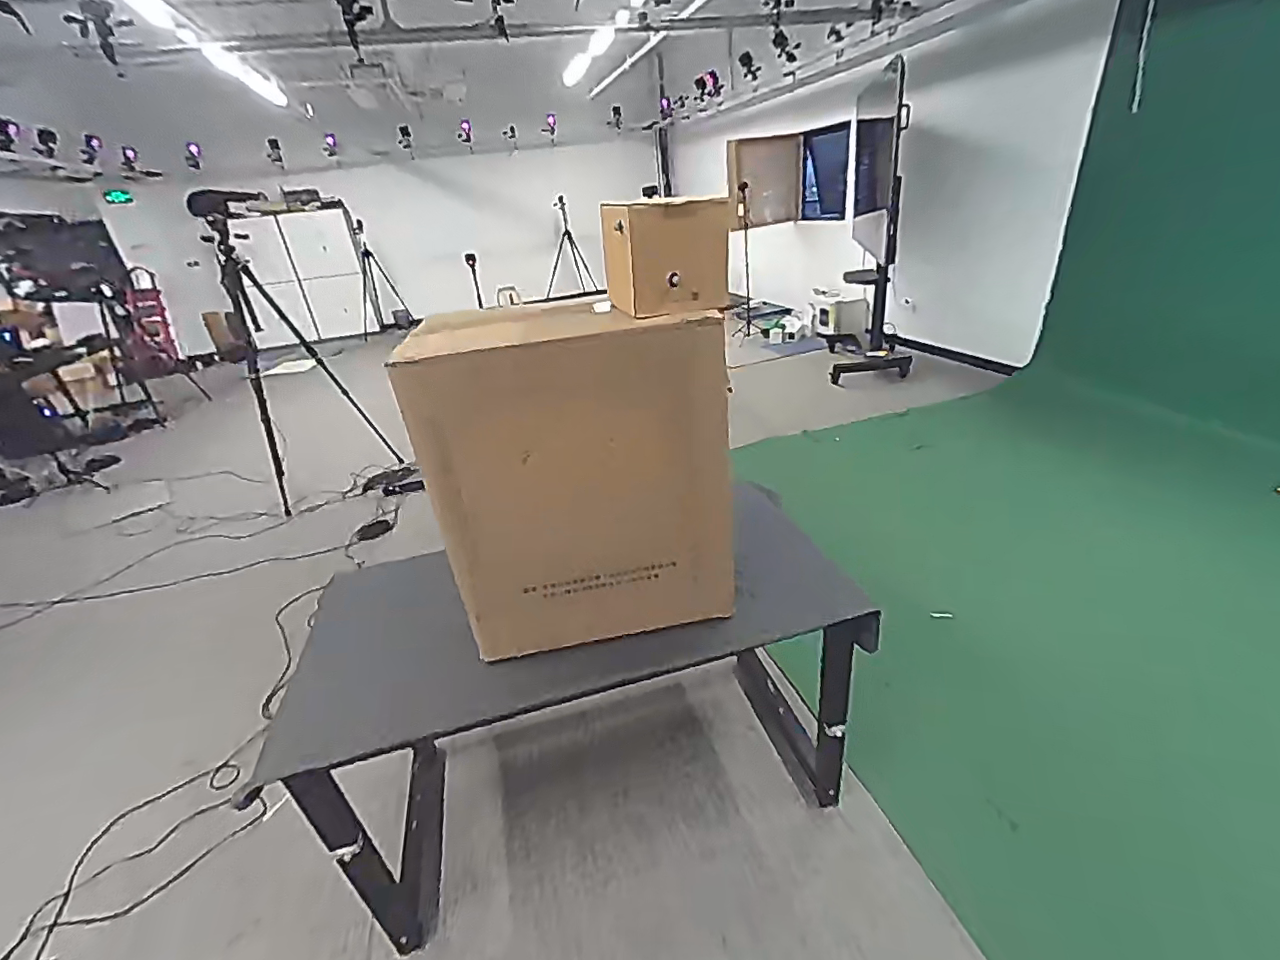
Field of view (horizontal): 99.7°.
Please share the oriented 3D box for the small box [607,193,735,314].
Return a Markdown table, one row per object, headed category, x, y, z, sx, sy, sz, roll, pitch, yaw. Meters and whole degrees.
| category | x | y | z | sx | sy | sz | roll | pitch | yaw |
| --- | --- | --- | --- | --- | --- | --- | --- | --- | --- |
| small box | 0.046 | -0.383 | 0.909 | 0.168 | 0.176 | 0.179 | -12 | 31 | -14 |
